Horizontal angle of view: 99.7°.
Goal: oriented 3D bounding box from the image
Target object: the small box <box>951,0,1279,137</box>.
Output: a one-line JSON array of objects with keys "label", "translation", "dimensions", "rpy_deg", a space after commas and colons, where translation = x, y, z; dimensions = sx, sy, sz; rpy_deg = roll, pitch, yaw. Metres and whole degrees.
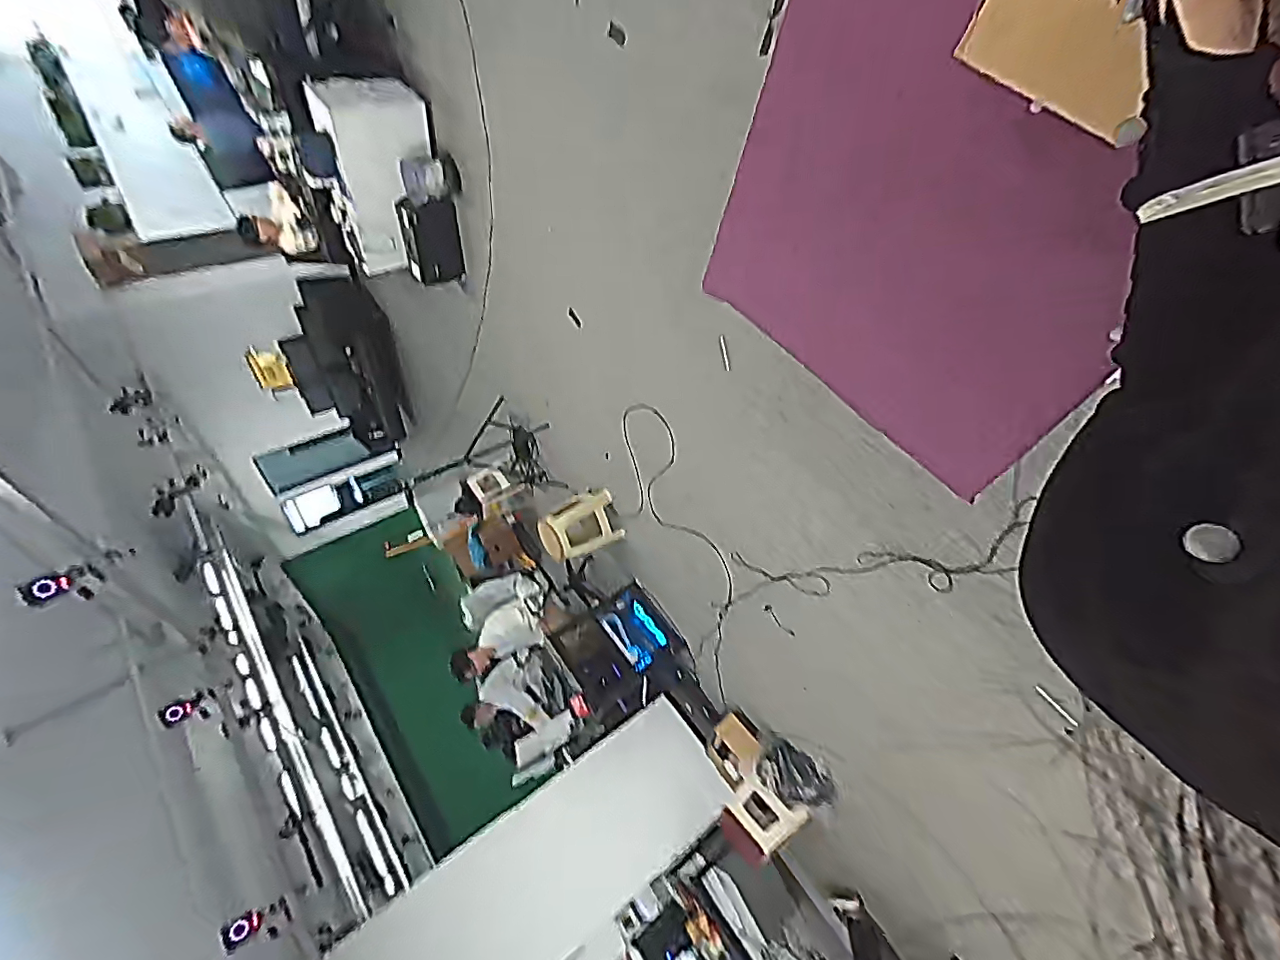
[{"label": "small box", "translation": [0.414, -0.414, 0.442], "dimensions": [0.179, 0.176, 0.168], "rpy_deg": [50, 150, 21]}]
